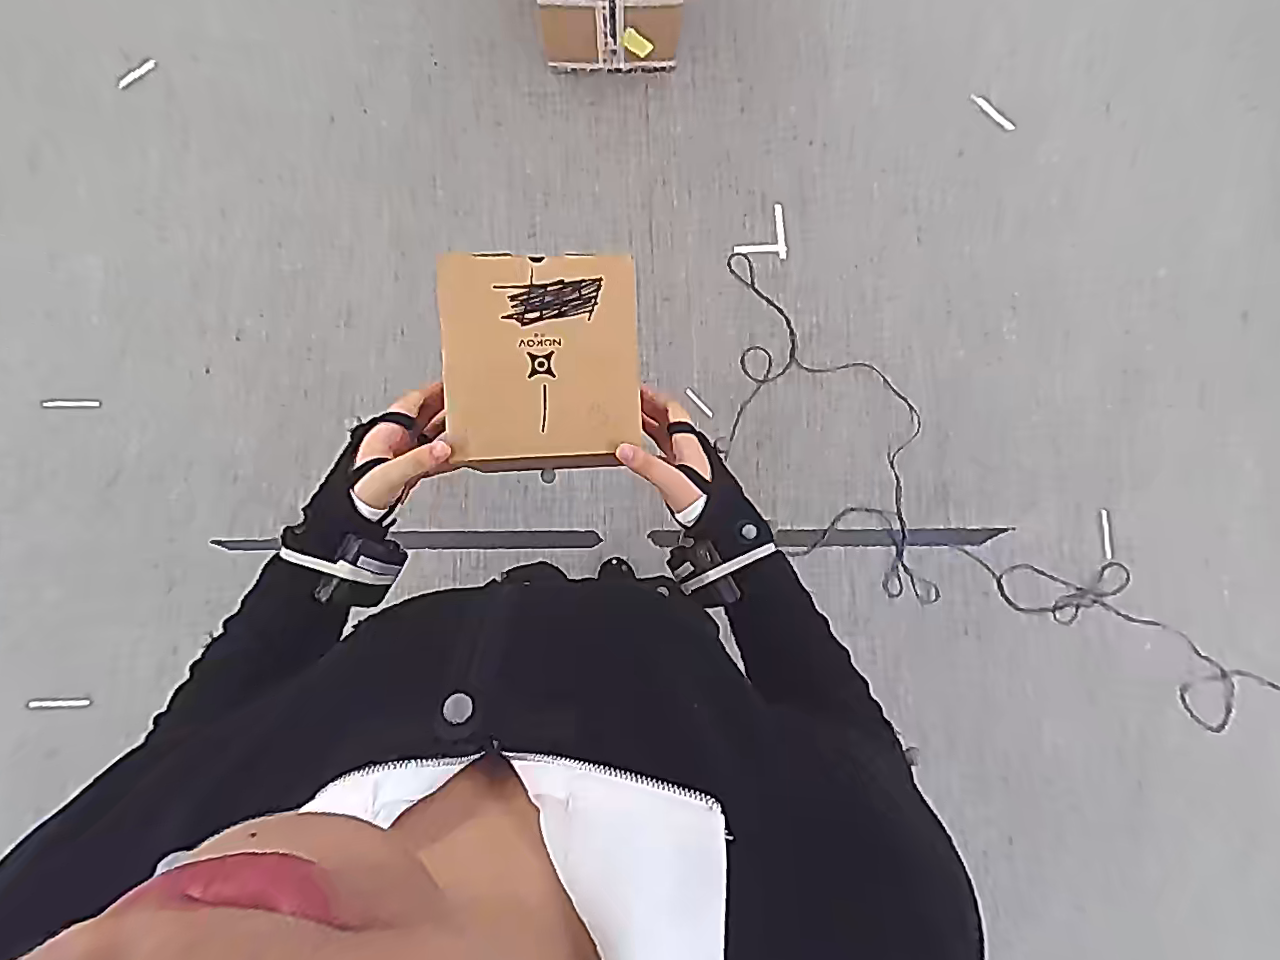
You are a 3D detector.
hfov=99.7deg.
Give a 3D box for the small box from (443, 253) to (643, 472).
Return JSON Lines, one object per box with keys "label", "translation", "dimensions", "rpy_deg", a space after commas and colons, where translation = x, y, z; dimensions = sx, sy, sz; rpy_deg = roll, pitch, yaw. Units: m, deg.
{"label": "small box", "translation": [-0.092, -0.103, 0.538], "dimensions": [0.168, 0.176, 0.179], "rpy_deg": [-3, 88, -6]}
